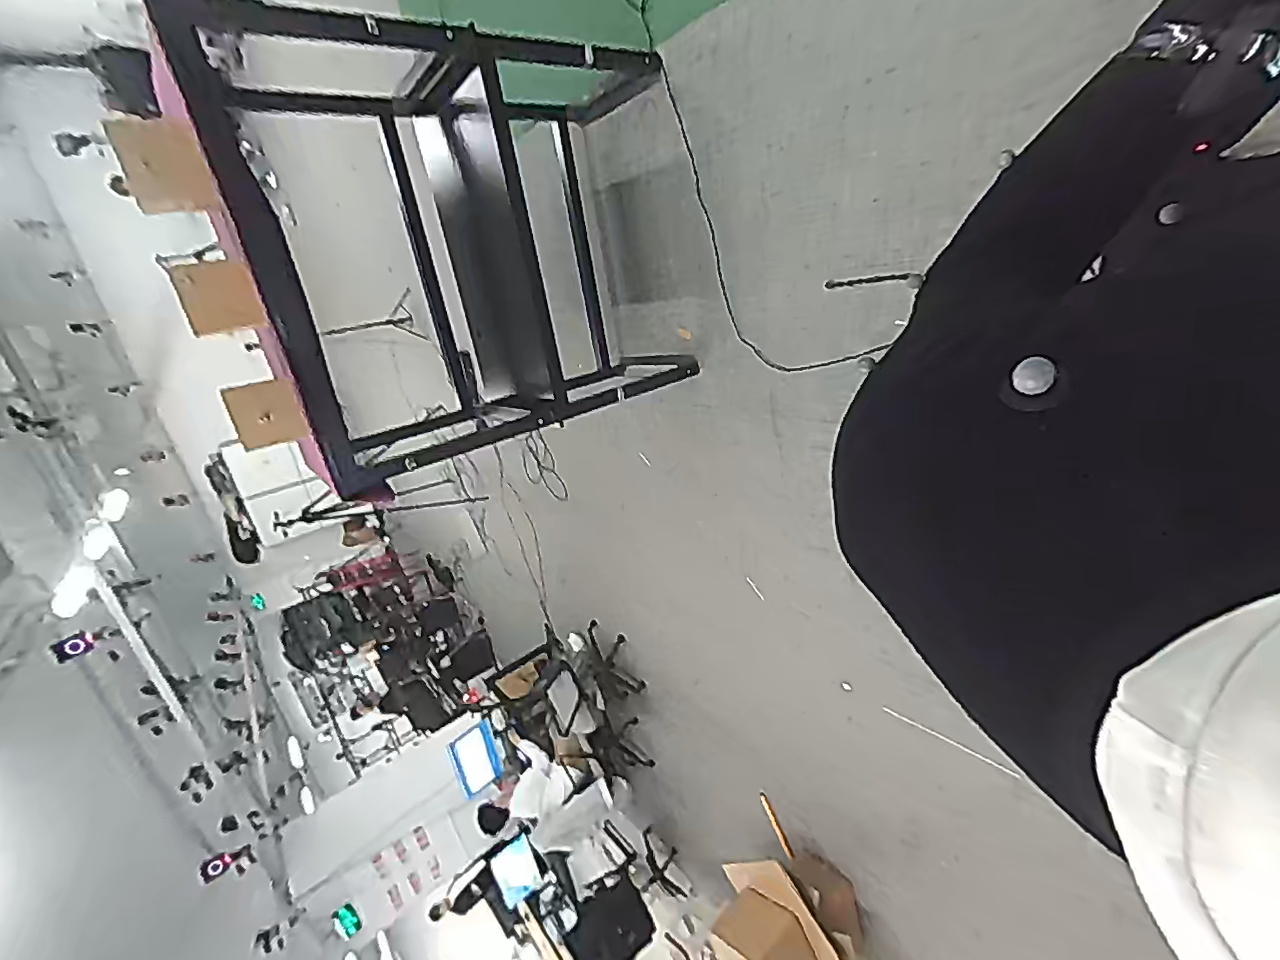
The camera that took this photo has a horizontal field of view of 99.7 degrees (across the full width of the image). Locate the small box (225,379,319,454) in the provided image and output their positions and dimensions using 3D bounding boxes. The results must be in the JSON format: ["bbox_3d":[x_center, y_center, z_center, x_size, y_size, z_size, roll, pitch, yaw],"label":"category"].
[{"bbox_3d":[-1.047,-0.188,1.541,0.168,0.176,0.179,13,121,52],"label":"small box"}]

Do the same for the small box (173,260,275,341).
[{"bbox_3d":[-1.102,-0.477,1.444,0.168,0.176,0.179,16,122,51],"label":"small box"}]

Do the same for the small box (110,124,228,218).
[{"bbox_3d":[-1.150,-0.759,1.334,0.168,0.176,0.179,20,126,49],"label":"small box"}]
